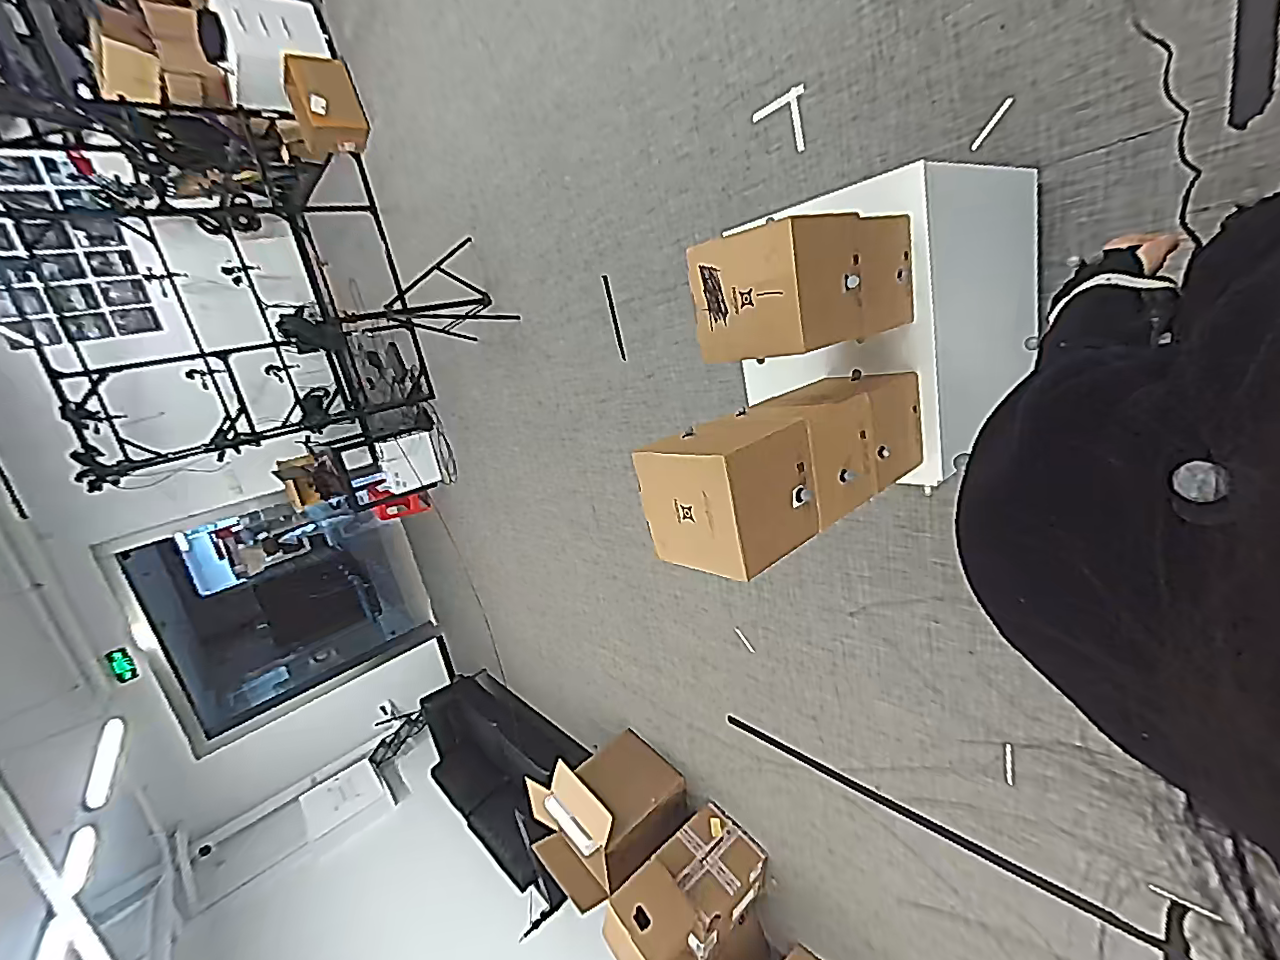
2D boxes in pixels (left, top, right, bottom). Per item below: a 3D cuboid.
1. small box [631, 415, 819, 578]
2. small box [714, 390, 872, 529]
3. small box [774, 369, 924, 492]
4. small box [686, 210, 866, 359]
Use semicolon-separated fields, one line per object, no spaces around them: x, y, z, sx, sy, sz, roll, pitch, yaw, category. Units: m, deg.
0.118;0.012;0.745;0.179;0.176;0.168;5;113;51;small box
0.241;-0.039;0.839;0.179;0.176;0.168;6;113;51;small box
0.361;-0.091;0.934;0.179;0.176;0.168;8;116;51;small box
0.194;-0.272;0.766;0.179;0.176;0.168;9;116;49;small box
